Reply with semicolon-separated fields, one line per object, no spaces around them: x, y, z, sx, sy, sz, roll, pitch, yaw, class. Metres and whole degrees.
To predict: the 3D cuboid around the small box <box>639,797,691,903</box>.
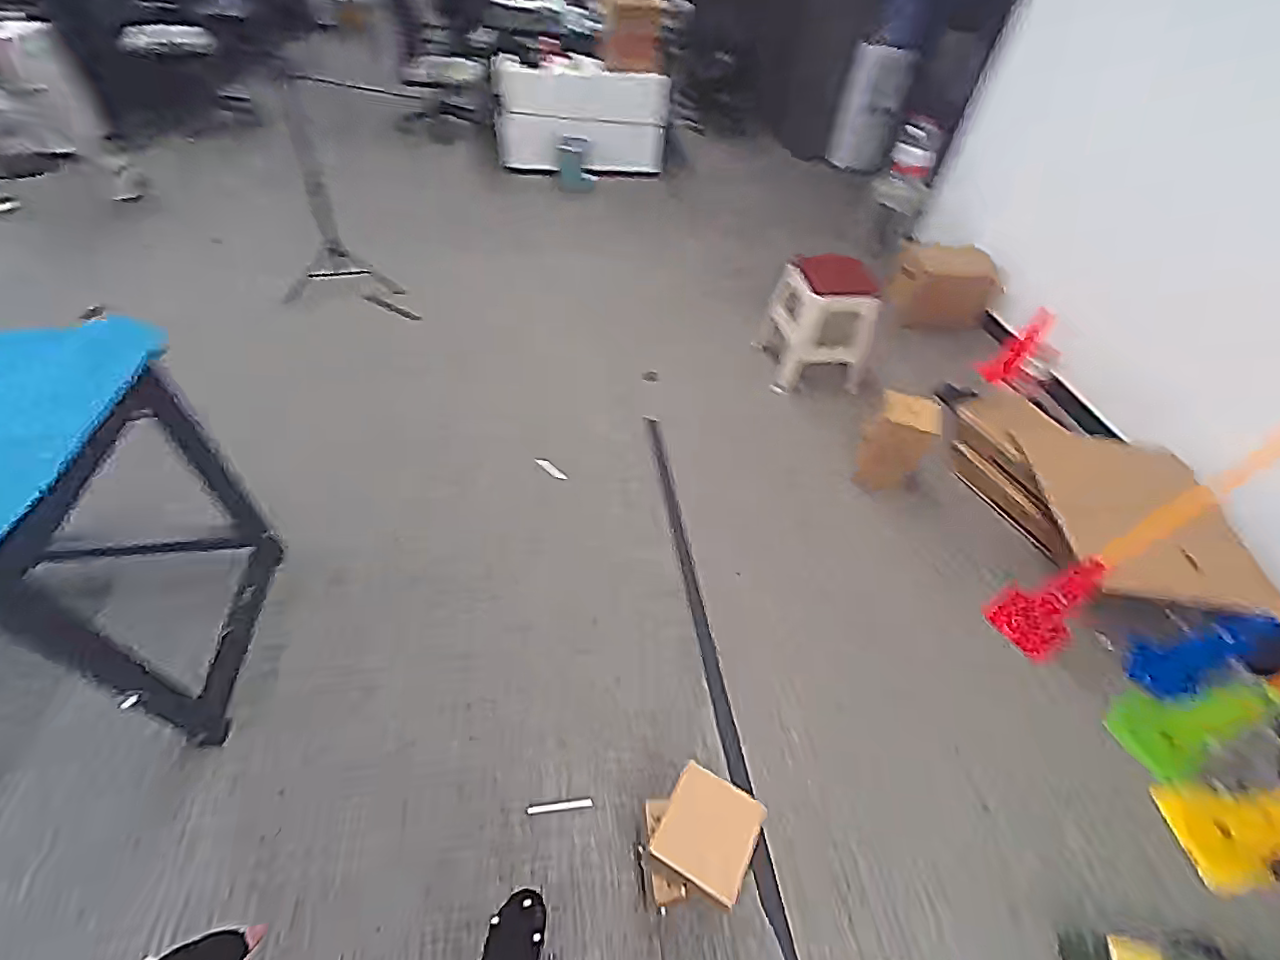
0.091;0.807;1.182;0.168;0.176;0.179;-1;48;-8;small box

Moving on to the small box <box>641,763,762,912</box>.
0.118;0.696;1.059;0.168;0.176;0.179;26;50;15;small box
